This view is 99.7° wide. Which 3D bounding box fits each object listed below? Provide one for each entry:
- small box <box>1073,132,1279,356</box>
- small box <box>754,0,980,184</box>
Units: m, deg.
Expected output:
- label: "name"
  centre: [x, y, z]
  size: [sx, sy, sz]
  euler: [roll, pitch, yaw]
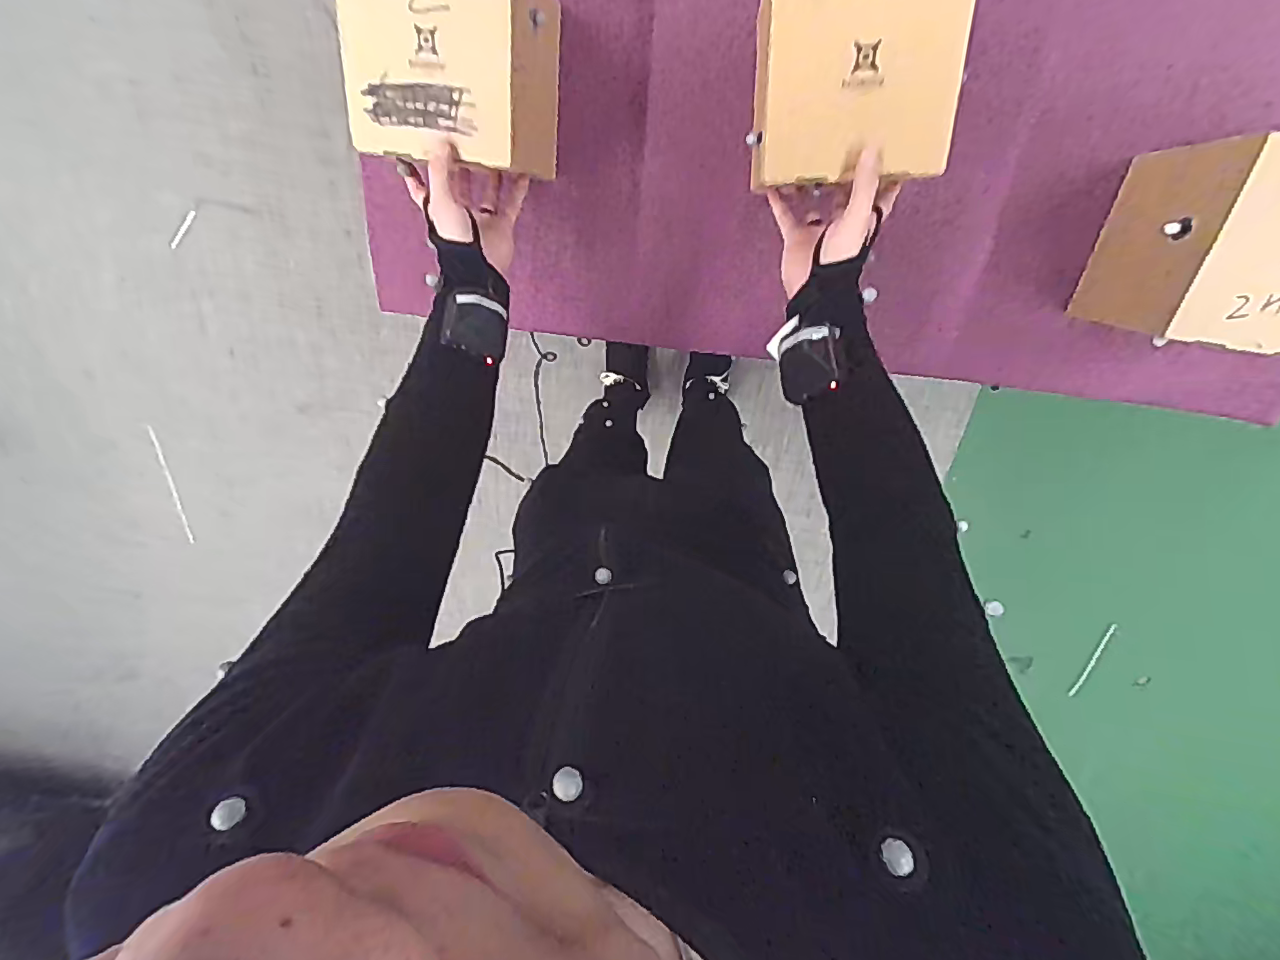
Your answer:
- label: "small box"
  centre: [0.608, -0.237, 0.561]
  size: [0.168, 0.176, 0.179]
  euler: [10, 117, 4]
- label: "small box"
  centre: [0.205, -0.400, 0.536]
  size: [0.168, 0.176, 0.179]
  euler: [1, 117, 7]
